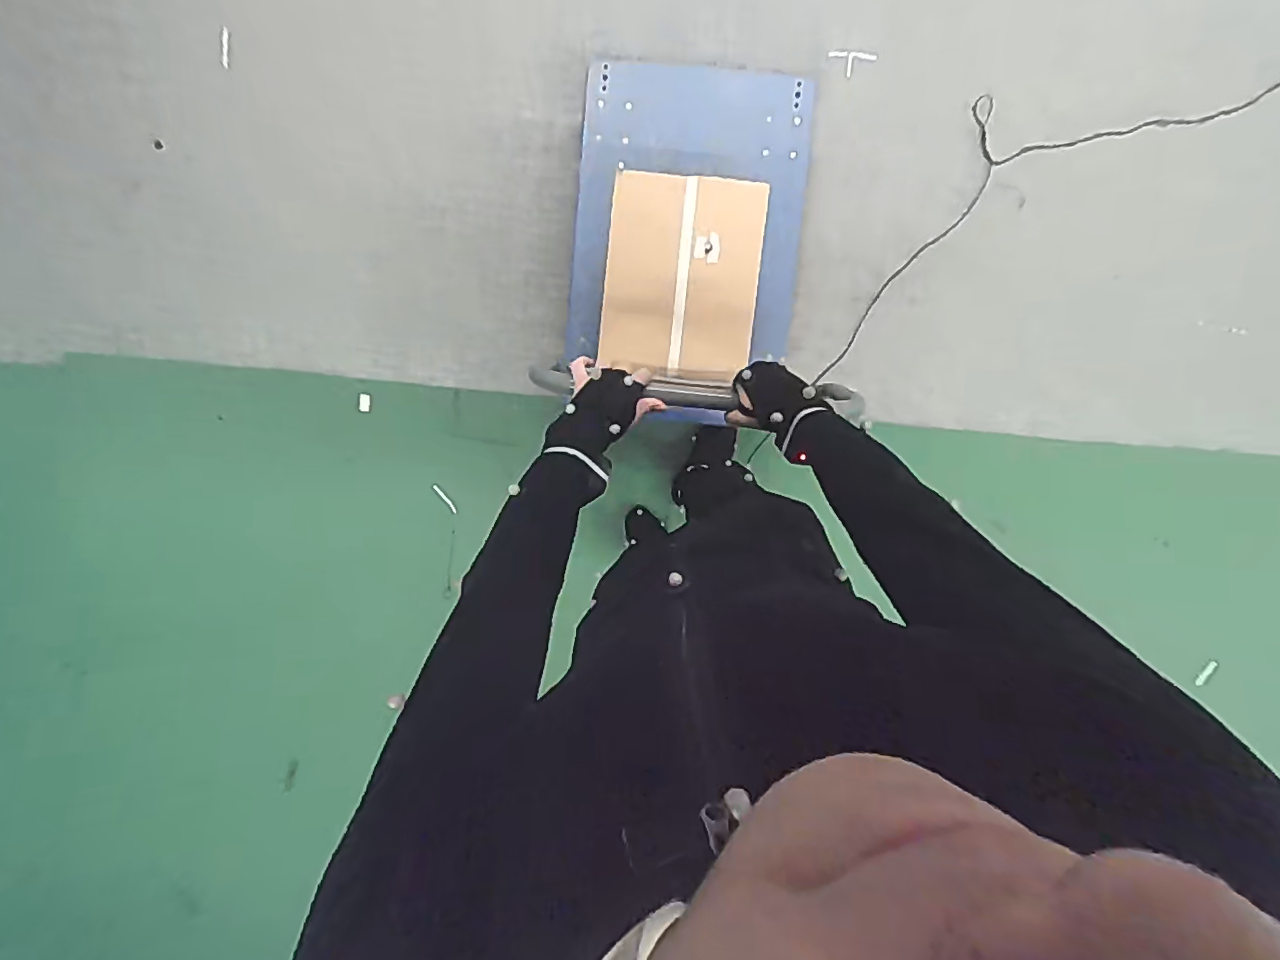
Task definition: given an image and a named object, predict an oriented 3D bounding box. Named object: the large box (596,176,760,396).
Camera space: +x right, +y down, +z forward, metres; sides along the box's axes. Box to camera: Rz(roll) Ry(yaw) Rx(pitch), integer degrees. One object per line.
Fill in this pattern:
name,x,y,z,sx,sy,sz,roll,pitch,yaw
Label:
large box,0.080,-0.416,1.254,0.320,0.320,0.408,5,94,0
